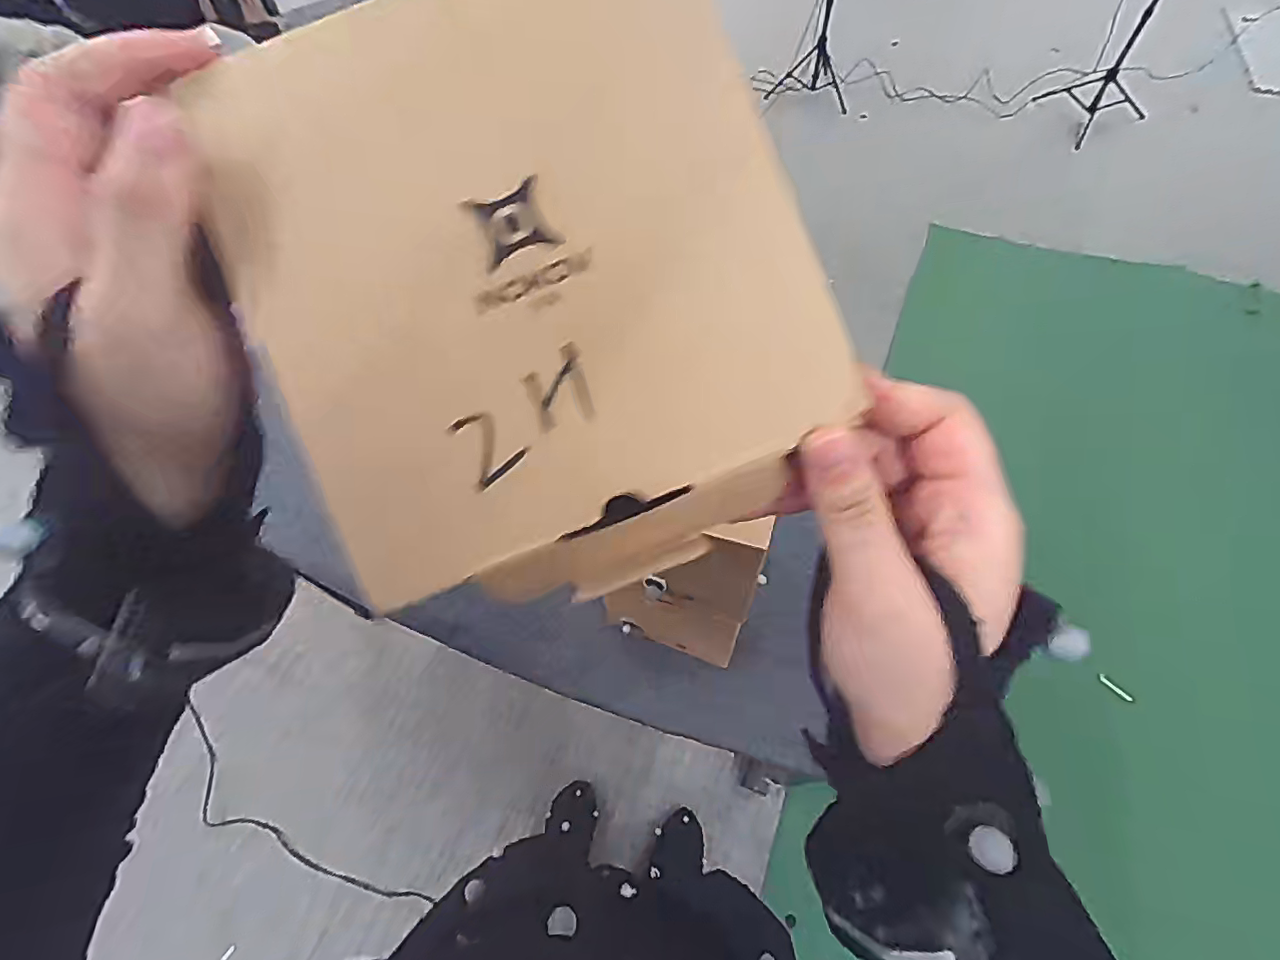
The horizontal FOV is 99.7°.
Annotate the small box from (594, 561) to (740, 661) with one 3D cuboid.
[{"bbox_3d":[0.060,0.102,0.680,0.168,0.176,0.179,18,58,14],"label":"small box"}]

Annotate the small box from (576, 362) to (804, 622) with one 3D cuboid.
[{"bbox_3d":[0.052,0.015,0.543,0.168,0.176,0.179,14,58,13],"label":"small box"}]
